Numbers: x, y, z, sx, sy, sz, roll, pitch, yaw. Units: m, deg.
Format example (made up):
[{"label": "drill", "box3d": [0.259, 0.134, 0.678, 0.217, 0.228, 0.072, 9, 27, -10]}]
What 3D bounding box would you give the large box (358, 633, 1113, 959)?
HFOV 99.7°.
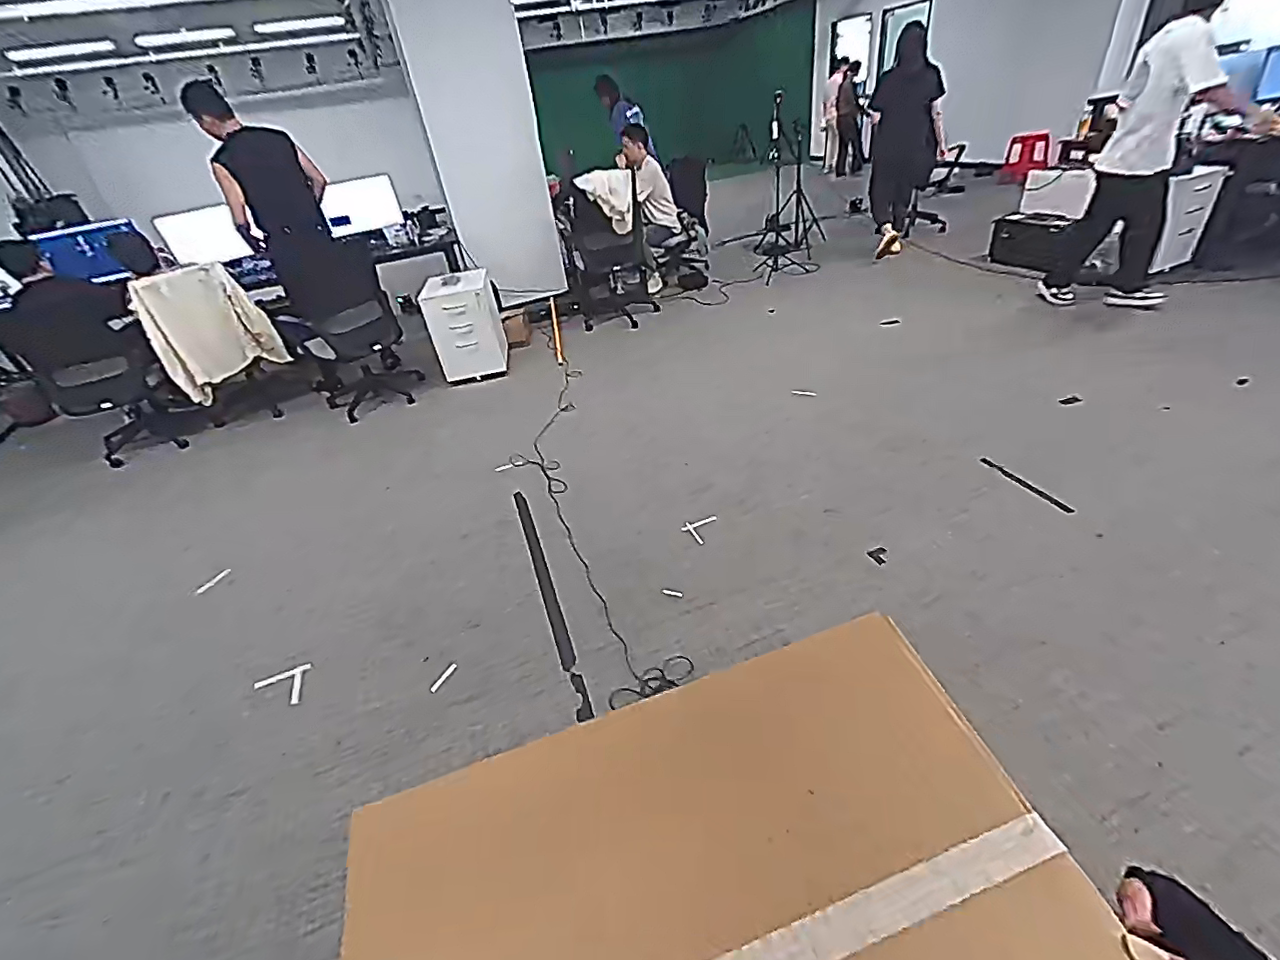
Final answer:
[{"label": "large box", "box3d": [0.066, 0.381, 0.395, 0.408, 0.320, 0.320, -19, 44, -7]}]
